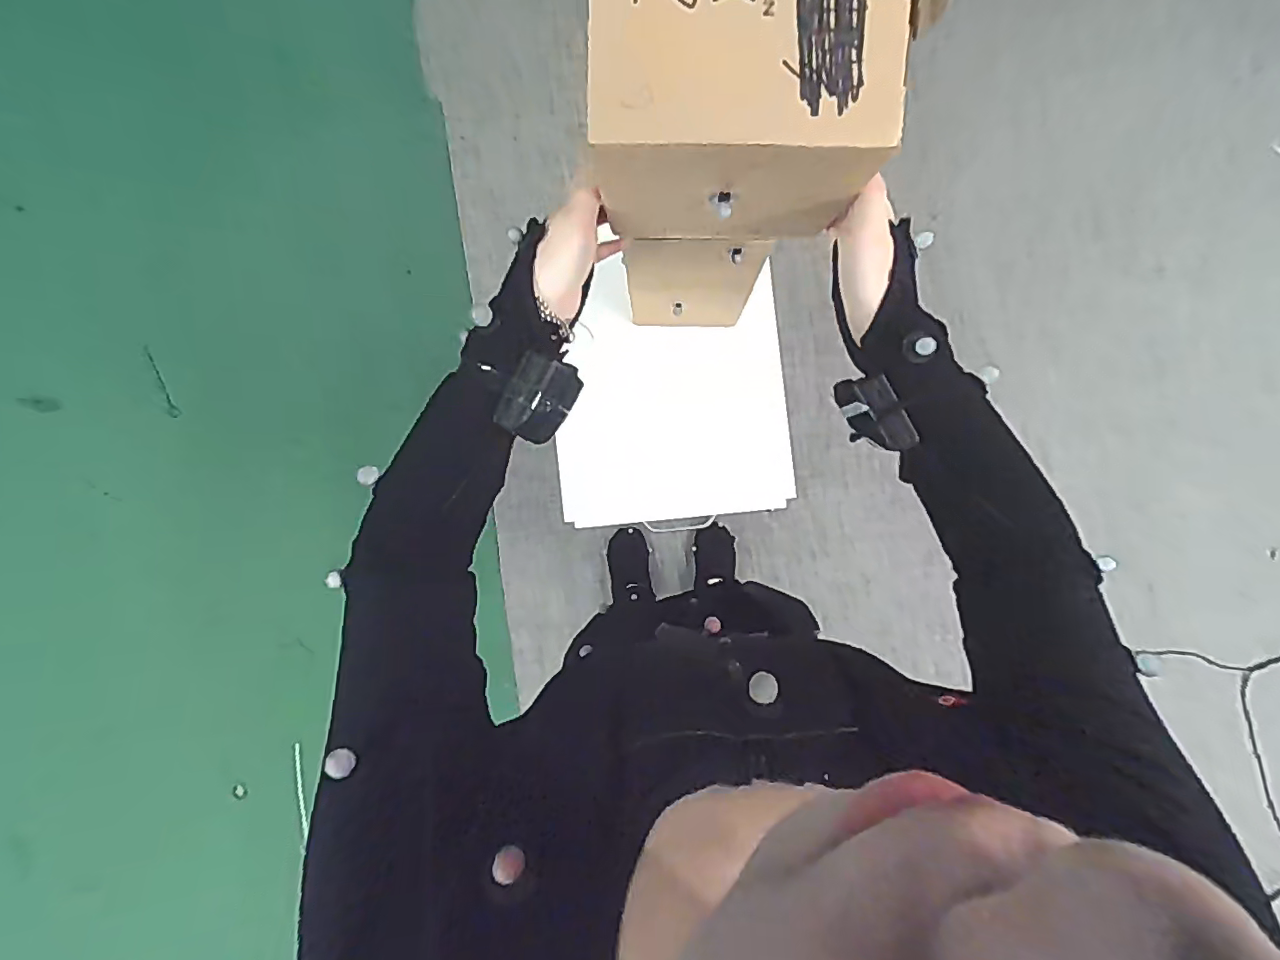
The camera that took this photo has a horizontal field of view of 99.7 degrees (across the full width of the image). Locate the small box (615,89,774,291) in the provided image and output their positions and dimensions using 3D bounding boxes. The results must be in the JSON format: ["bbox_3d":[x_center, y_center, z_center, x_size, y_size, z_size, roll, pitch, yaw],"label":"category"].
[{"bbox_3d":[0.062,-0.346,0.675,0.179,0.176,0.168,0,89,1],"label":"small box"}]

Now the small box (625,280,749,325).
[{"bbox_3d":[0.071,-0.346,0.838,0.179,0.176,0.168,1,89,2],"label":"small box"}]
